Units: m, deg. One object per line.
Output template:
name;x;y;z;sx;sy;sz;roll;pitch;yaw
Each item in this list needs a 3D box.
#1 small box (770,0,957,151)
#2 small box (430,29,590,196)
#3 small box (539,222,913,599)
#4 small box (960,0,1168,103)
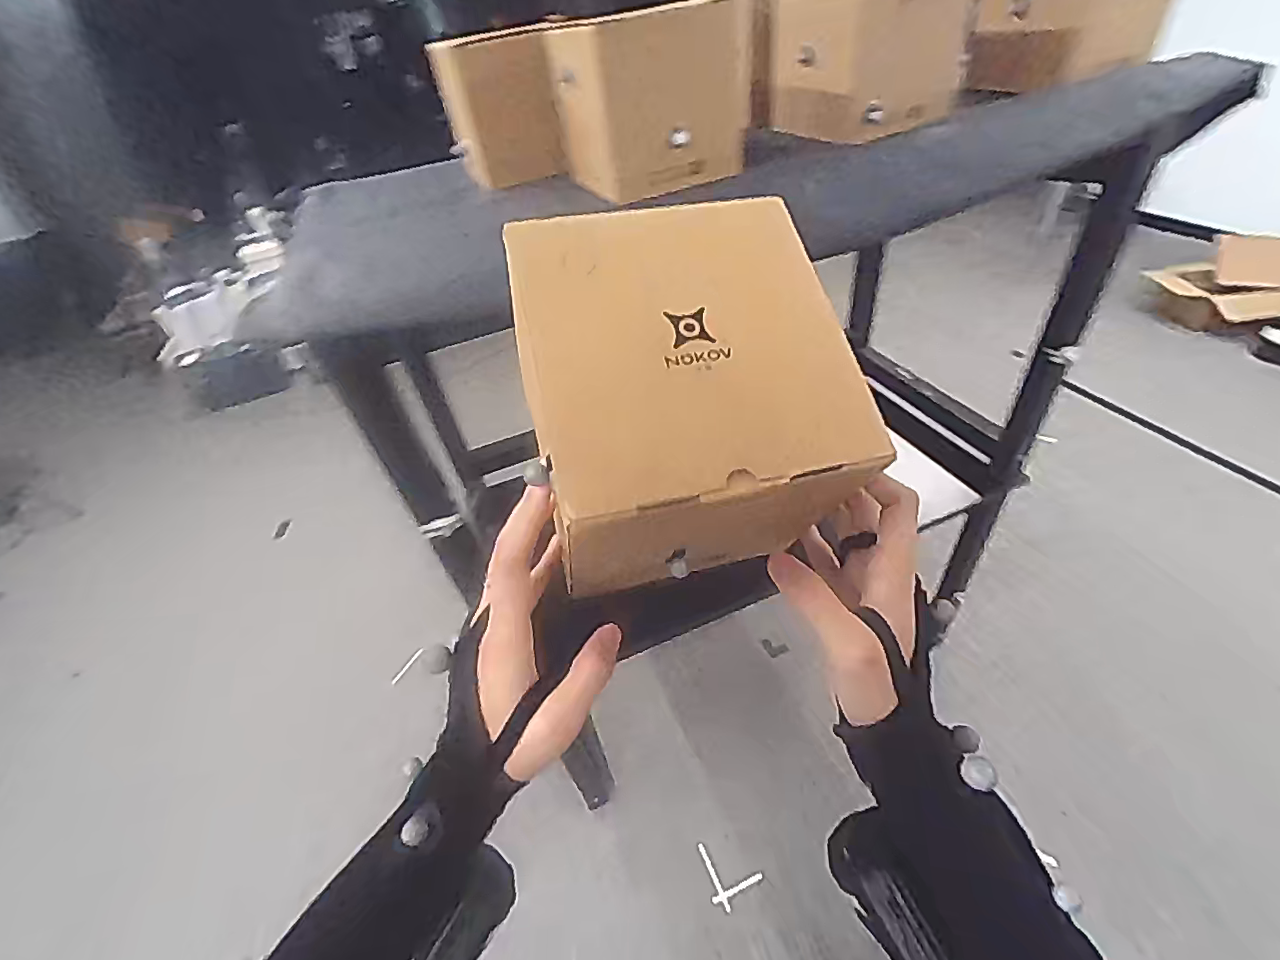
small box;0.292;-0.561;0.727;0.168;0.176;0.179;-22;43;-13
small box;-0.182;-0.538;0.791;0.179;0.176;0.168;-22;44;-14
small box;0.030;-0.035;0.357;0.168;0.176;0.179;-11;70;-11
small box;0.597;-0.650;0.766;0.168;0.176;0.179;-21;42;-11
